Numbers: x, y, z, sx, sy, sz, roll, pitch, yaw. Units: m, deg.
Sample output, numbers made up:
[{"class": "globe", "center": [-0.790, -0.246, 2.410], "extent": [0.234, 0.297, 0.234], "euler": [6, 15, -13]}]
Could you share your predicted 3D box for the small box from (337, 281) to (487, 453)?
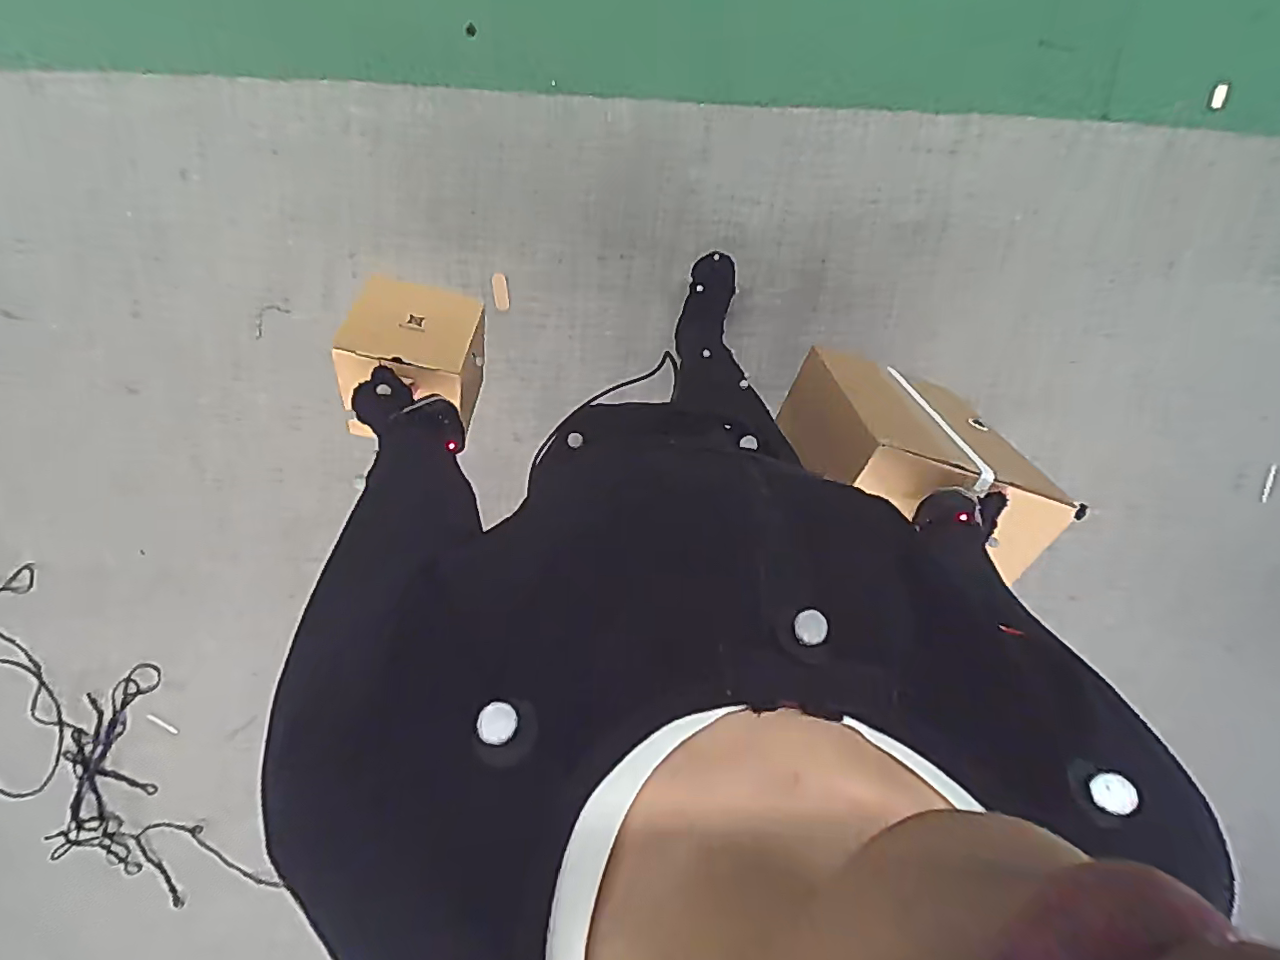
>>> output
[{"class": "small box", "center": [-0.339, -0.171, 0.835], "extent": [0.168, 0.179, 0.176], "euler": [10, 141, -10]}]
